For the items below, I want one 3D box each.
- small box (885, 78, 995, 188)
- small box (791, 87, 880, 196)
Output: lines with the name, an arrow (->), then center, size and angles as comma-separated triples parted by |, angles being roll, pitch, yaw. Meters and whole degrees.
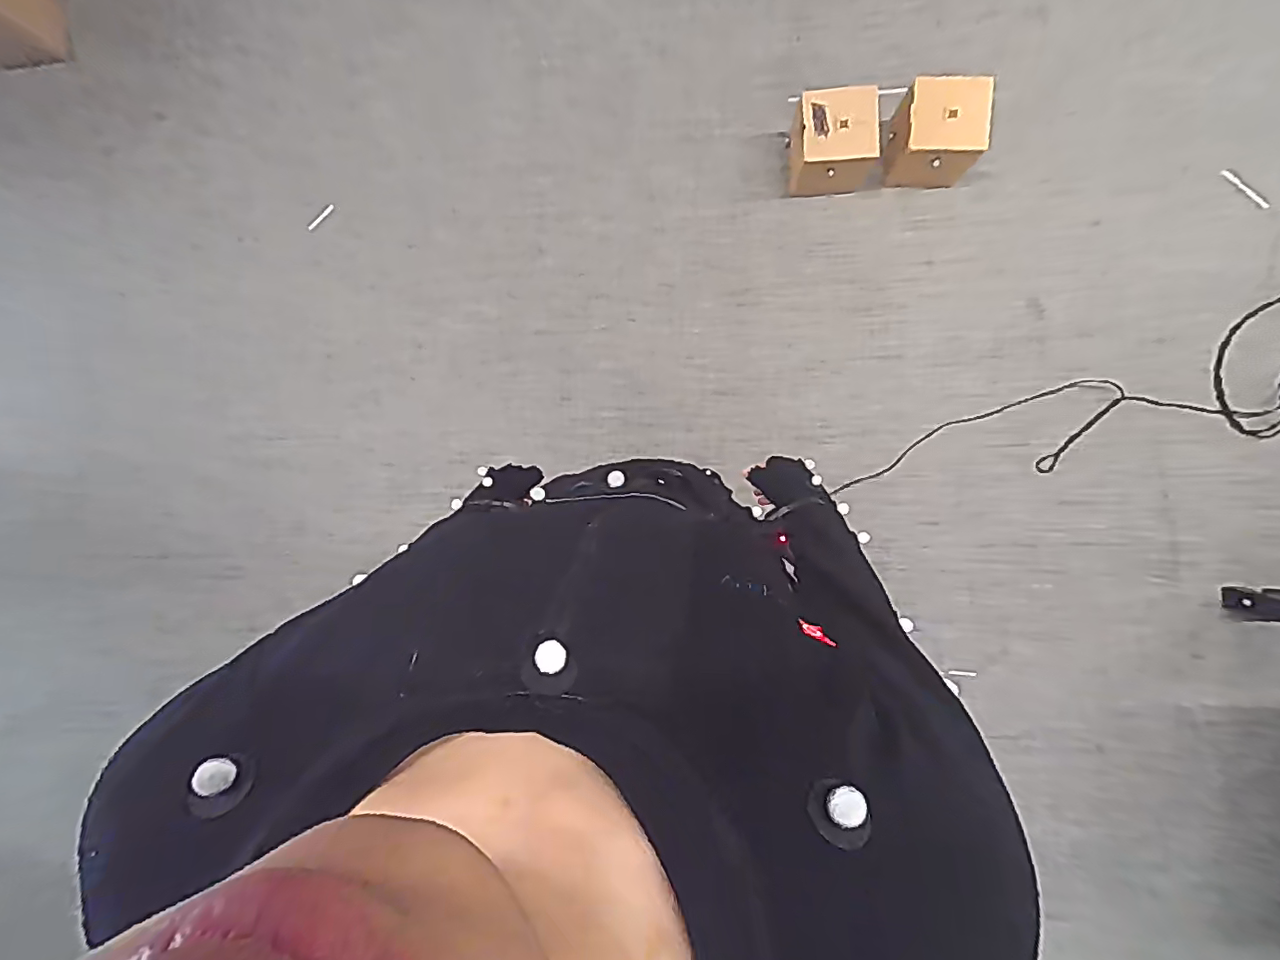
small box -> 0.717, -0.832, 1.310 | 0.179, 0.176, 0.168 | 4, 92, 6
small box -> 0.473, -0.822, 1.332 | 0.179, 0.176, 0.168 | -2, 91, 5
